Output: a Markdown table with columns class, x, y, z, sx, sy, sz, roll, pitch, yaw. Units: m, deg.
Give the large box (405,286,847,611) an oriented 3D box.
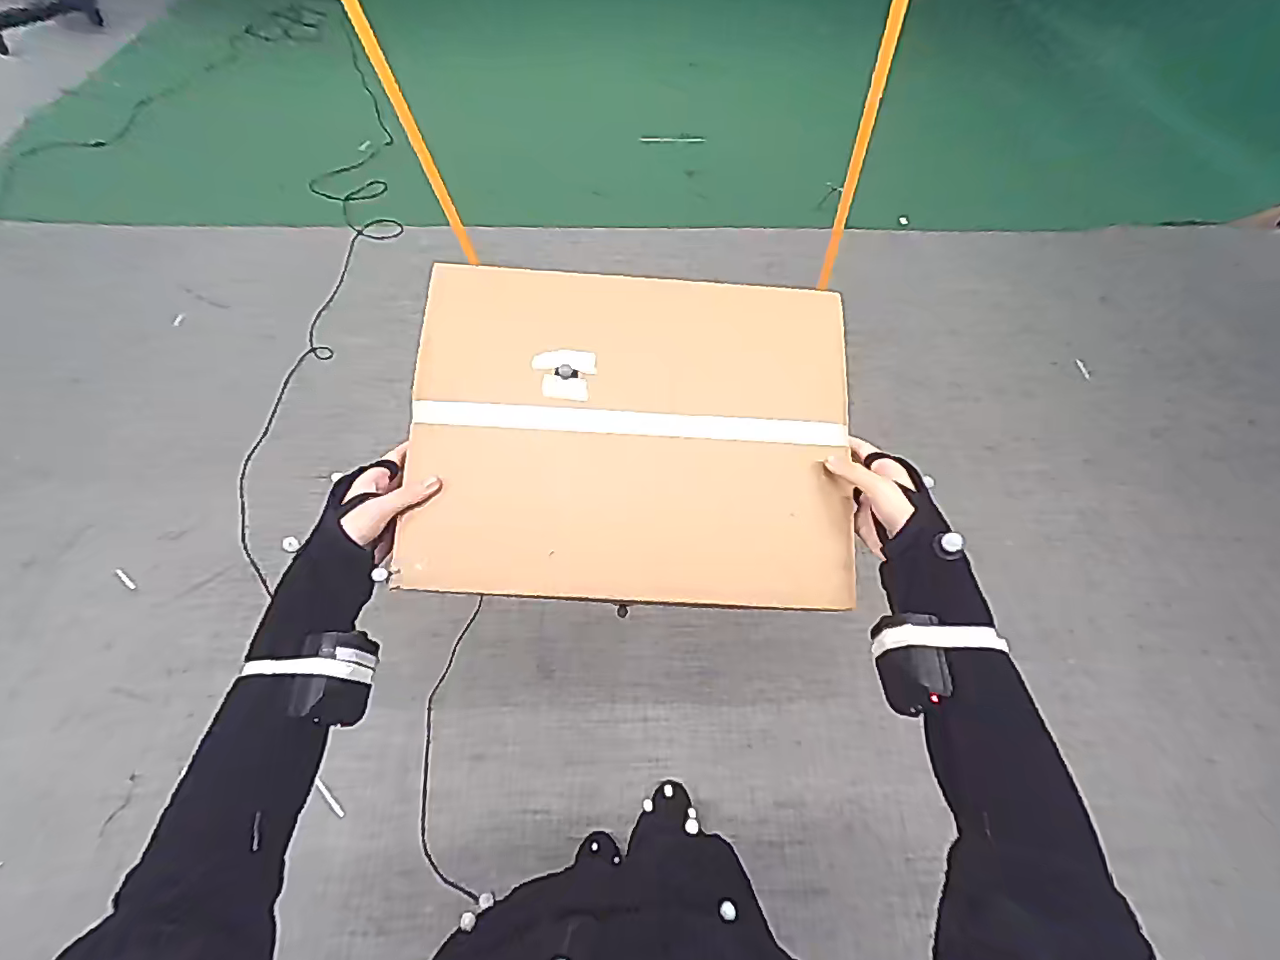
| class | x | y | z | sx | sy | sz | roll | pitch | yaw |
| --- | --- | --- | --- | --- | --- | --- | --- | --- | --- |
| large box | -0.009 | -0.007 | 0.659 | 0.408 | 0.320 | 0.320 | 3 | 76 | -1 |
